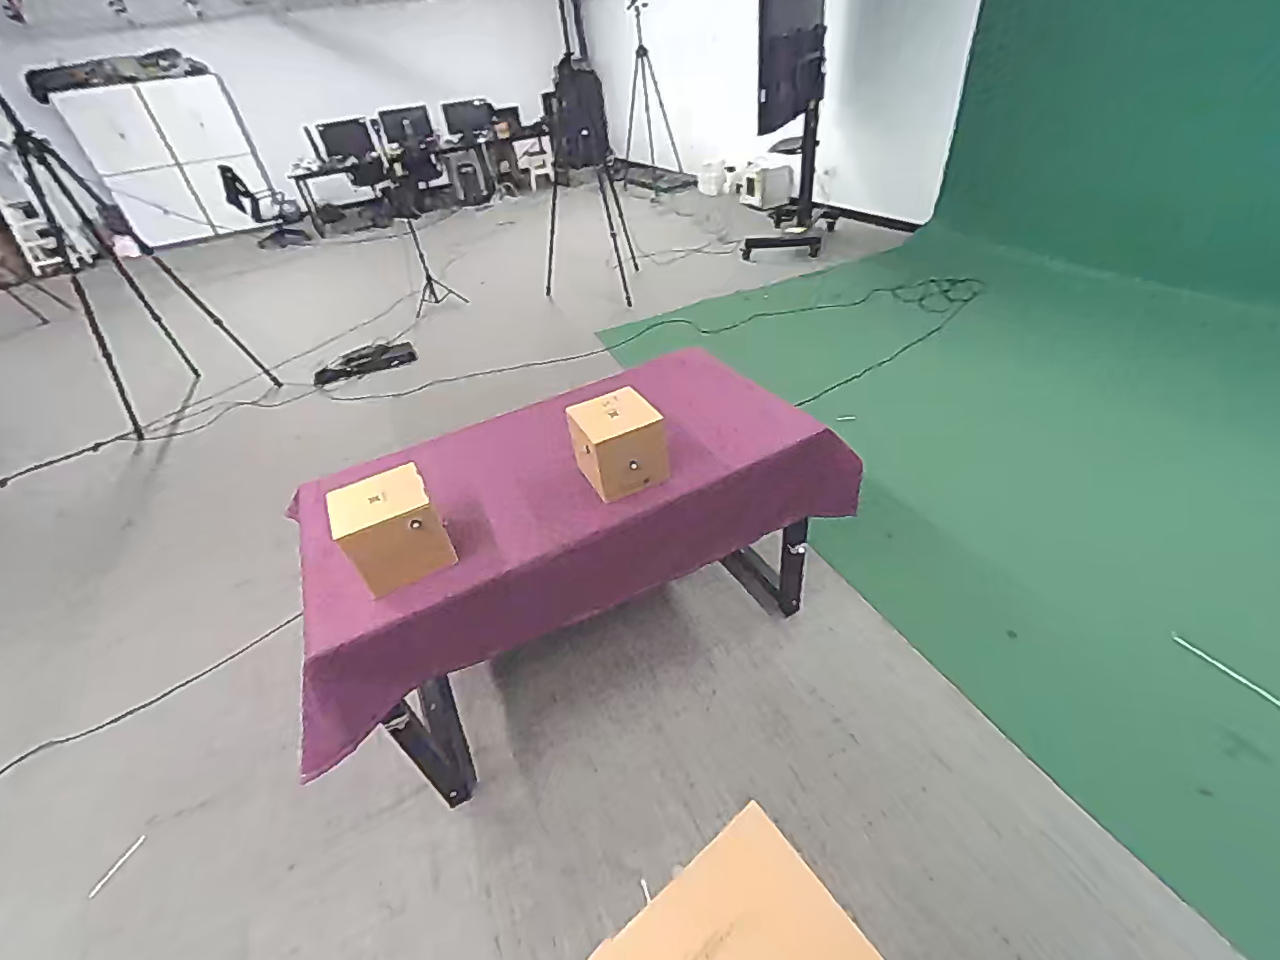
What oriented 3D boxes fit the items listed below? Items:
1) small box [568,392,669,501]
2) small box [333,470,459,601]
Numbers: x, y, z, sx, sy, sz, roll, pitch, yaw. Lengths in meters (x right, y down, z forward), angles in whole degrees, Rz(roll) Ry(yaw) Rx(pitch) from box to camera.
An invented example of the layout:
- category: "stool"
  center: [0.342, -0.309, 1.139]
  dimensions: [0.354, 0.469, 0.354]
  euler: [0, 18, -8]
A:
- category: "small box"
  center: [-0.046, -0.071, 1.238]
  dimensions: [0.168, 0.176, 0.179]
  euler: [-22, 39, -16]
- category: "small box"
  center: [-0.492, 0.112, 1.096]
  dimensions: [0.179, 0.176, 0.168]
  euler: [-24, 40, -19]
